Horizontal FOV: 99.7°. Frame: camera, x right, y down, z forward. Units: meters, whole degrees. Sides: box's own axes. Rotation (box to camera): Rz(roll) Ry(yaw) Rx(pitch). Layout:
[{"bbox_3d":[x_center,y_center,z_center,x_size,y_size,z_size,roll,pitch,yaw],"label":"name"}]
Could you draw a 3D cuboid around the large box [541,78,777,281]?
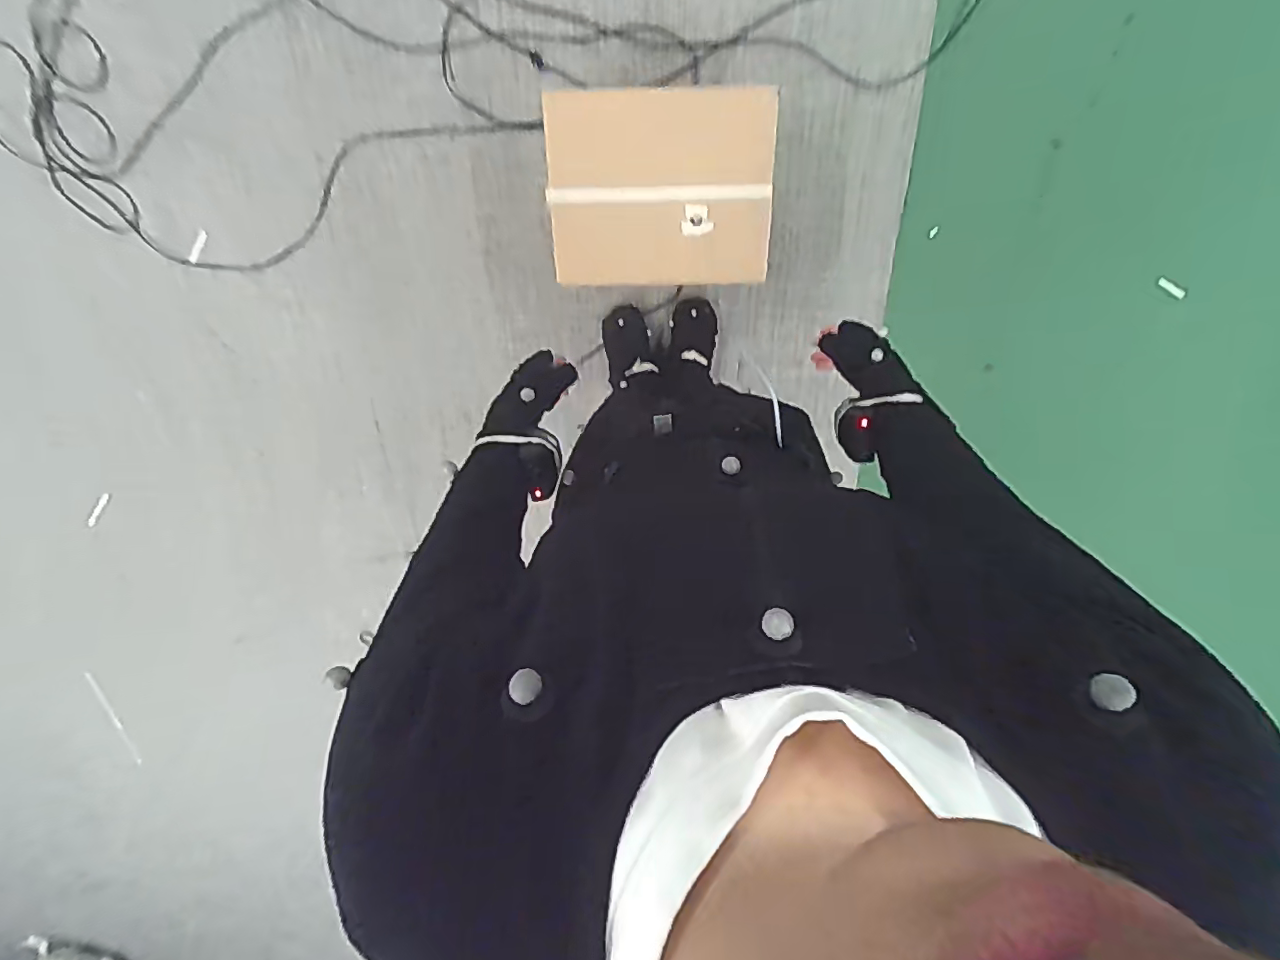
[{"bbox_3d":[0.035,-0.590,1.102,0.408,0.320,0.320,-1,117,1],"label":"large box"}]
